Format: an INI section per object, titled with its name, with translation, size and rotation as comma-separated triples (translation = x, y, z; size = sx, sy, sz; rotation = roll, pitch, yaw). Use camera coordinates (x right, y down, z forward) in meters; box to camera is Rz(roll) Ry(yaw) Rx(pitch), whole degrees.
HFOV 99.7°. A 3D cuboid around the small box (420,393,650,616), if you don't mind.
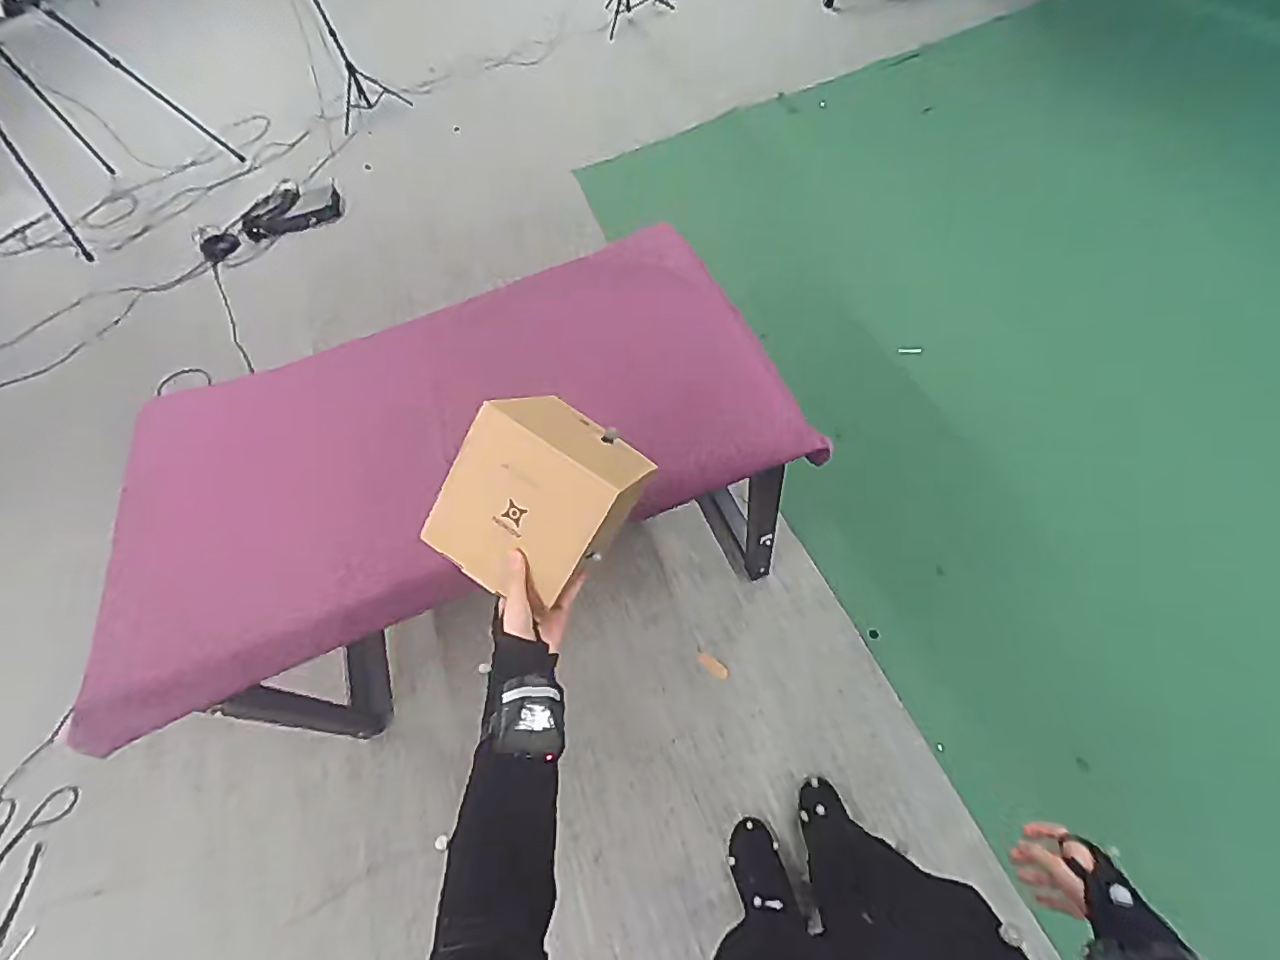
[small box]
translation = -0.108, 0.015, 0.623
size = 0.168, 0.176, 0.179
rotation = 34, 107, 7
